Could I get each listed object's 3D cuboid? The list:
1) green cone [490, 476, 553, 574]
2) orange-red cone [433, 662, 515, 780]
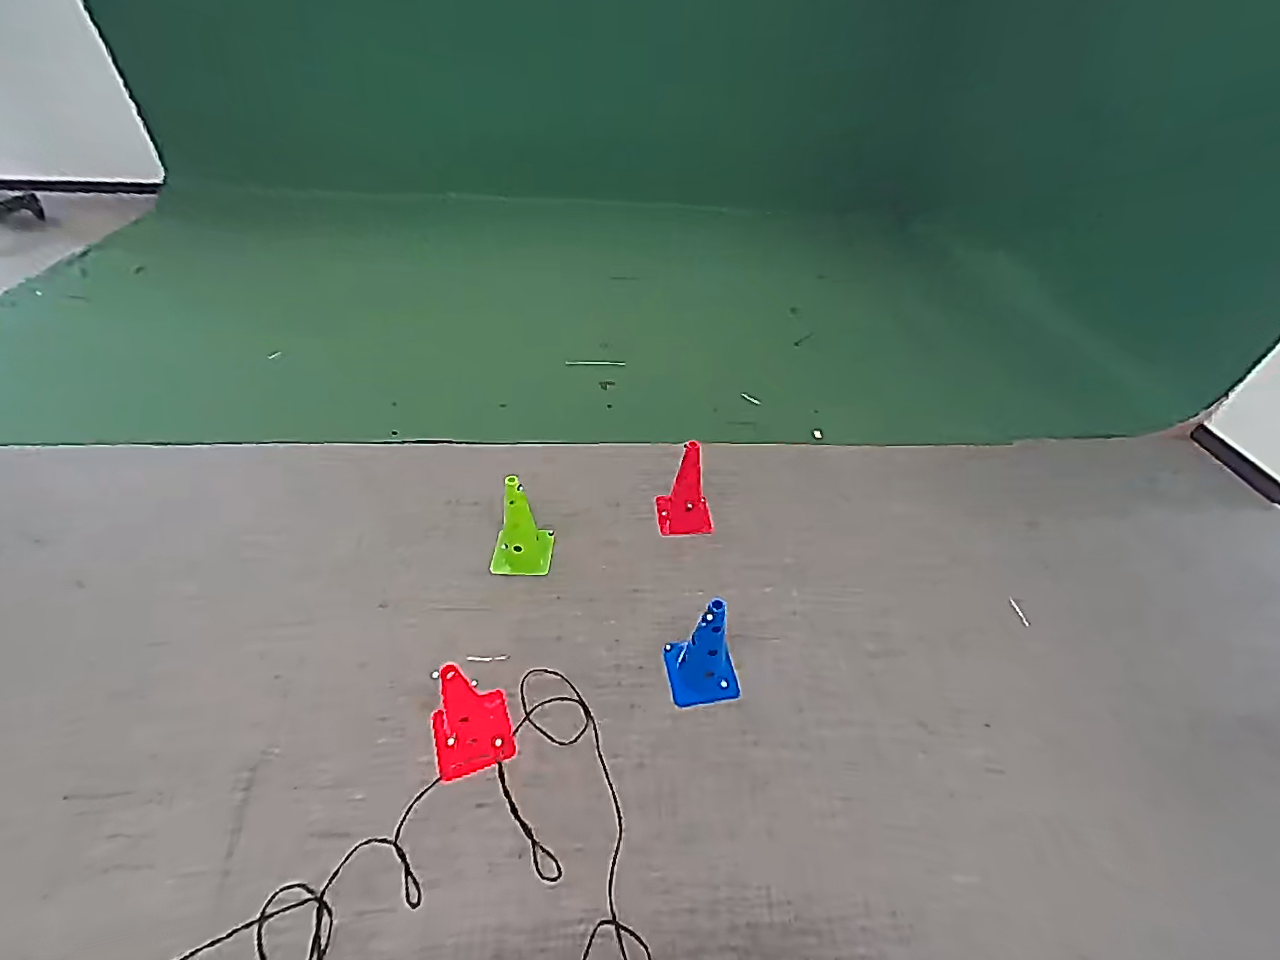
[{"bbox_3d":[-0.408,0.124,1.784,0.200,0.368,0.202,1,45,-2],"label":"green cone"},{"bbox_3d":[-0.437,0.555,1.337,0.198,0.360,0.199,-13,45,-18],"label":"orange-red cone"}]
